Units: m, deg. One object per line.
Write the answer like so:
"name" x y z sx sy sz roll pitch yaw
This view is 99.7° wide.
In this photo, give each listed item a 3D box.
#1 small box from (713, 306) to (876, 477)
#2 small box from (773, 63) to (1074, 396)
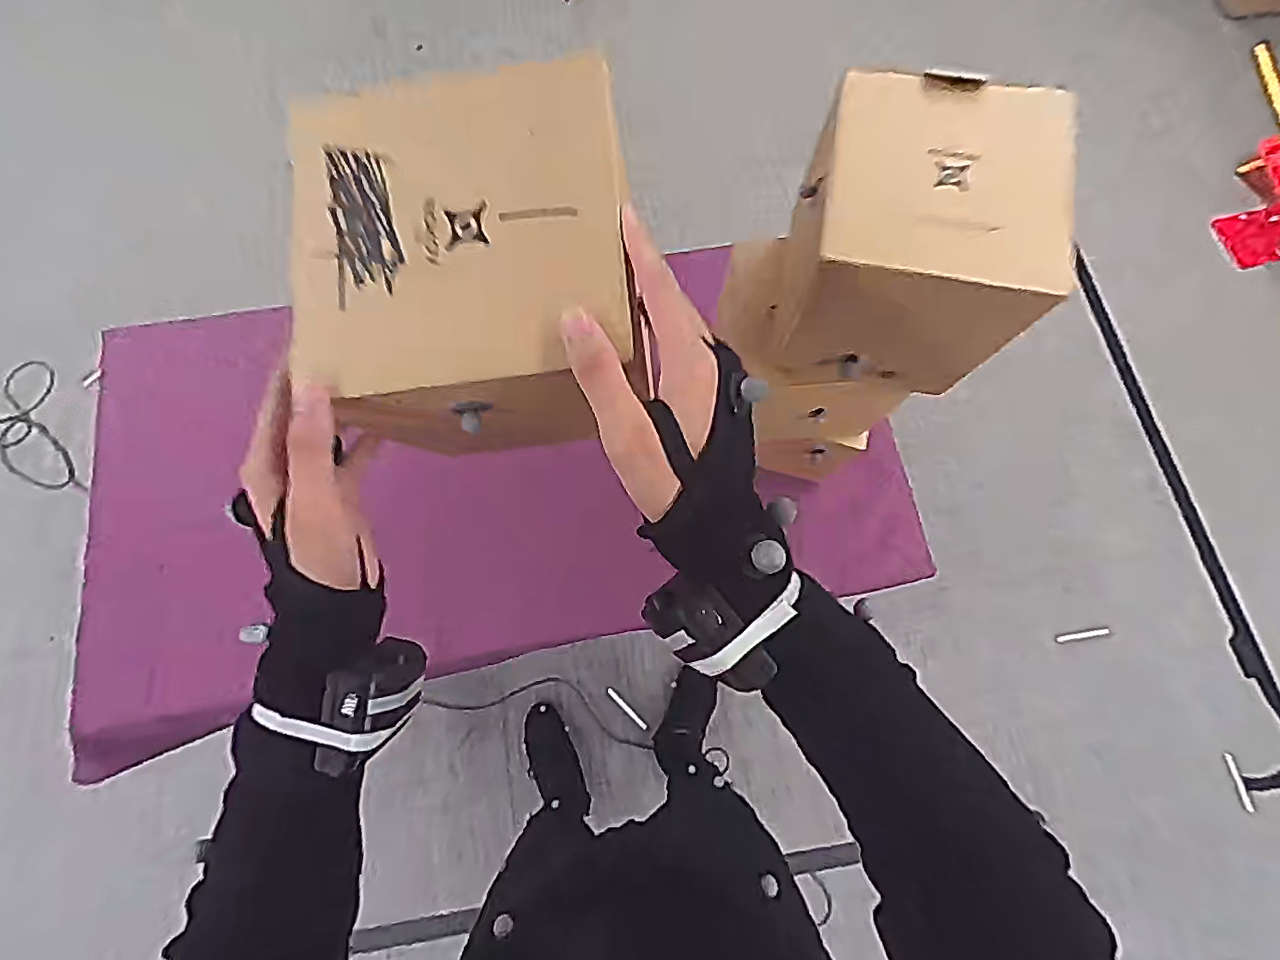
"small box" 0.217 -0.115 0.774 0.179 0.176 0.168 16 75 4
"small box" 0.218 -0.194 0.456 0.168 0.176 0.179 11 76 4
